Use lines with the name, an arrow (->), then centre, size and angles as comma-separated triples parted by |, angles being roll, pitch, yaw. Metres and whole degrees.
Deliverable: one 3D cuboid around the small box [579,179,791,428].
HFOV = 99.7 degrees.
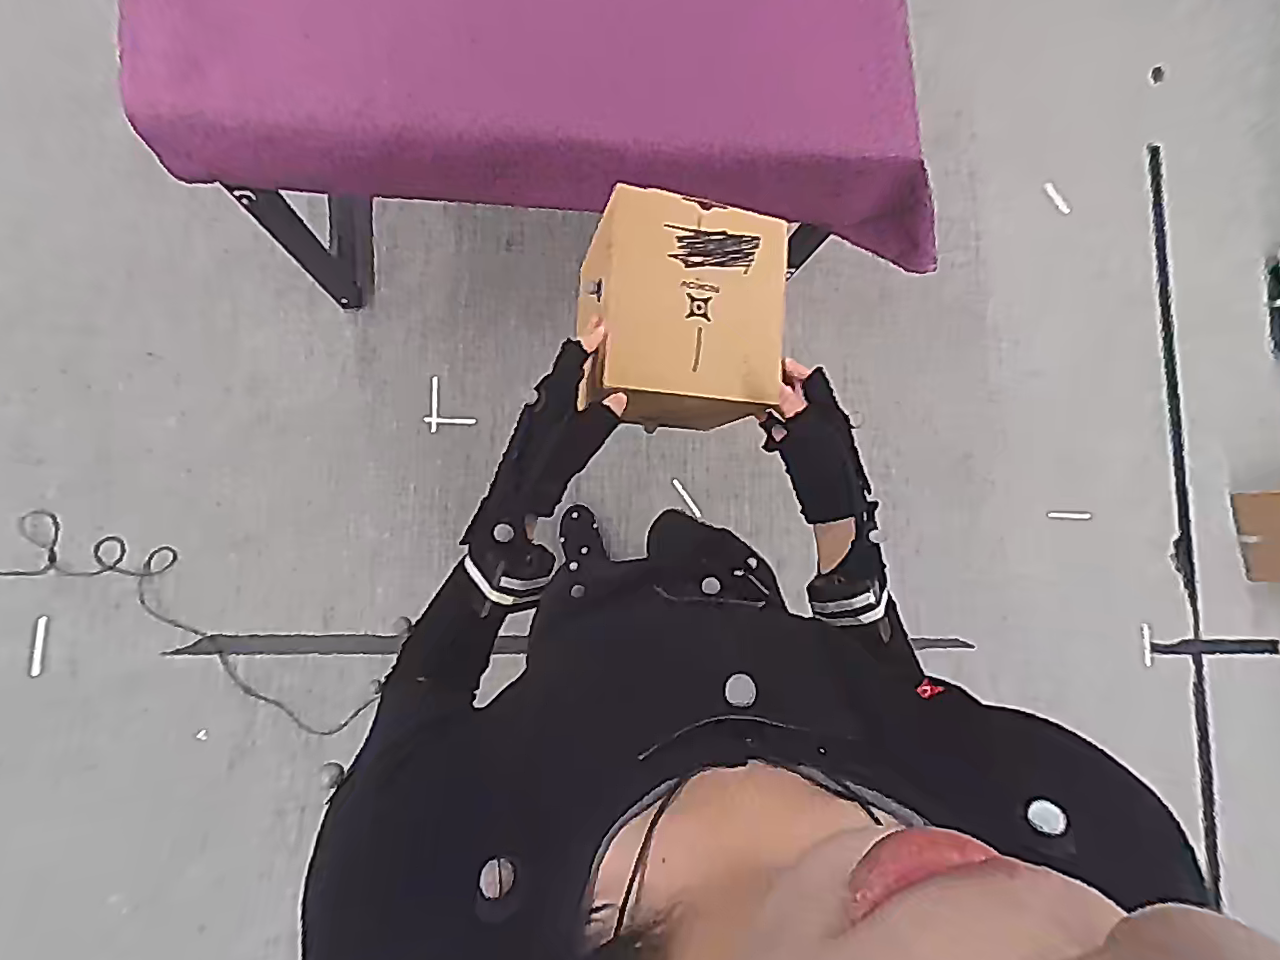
small box -> 0.035, -0.158, 0.547 | 0.168, 0.176, 0.179 | 4, 85, -16
